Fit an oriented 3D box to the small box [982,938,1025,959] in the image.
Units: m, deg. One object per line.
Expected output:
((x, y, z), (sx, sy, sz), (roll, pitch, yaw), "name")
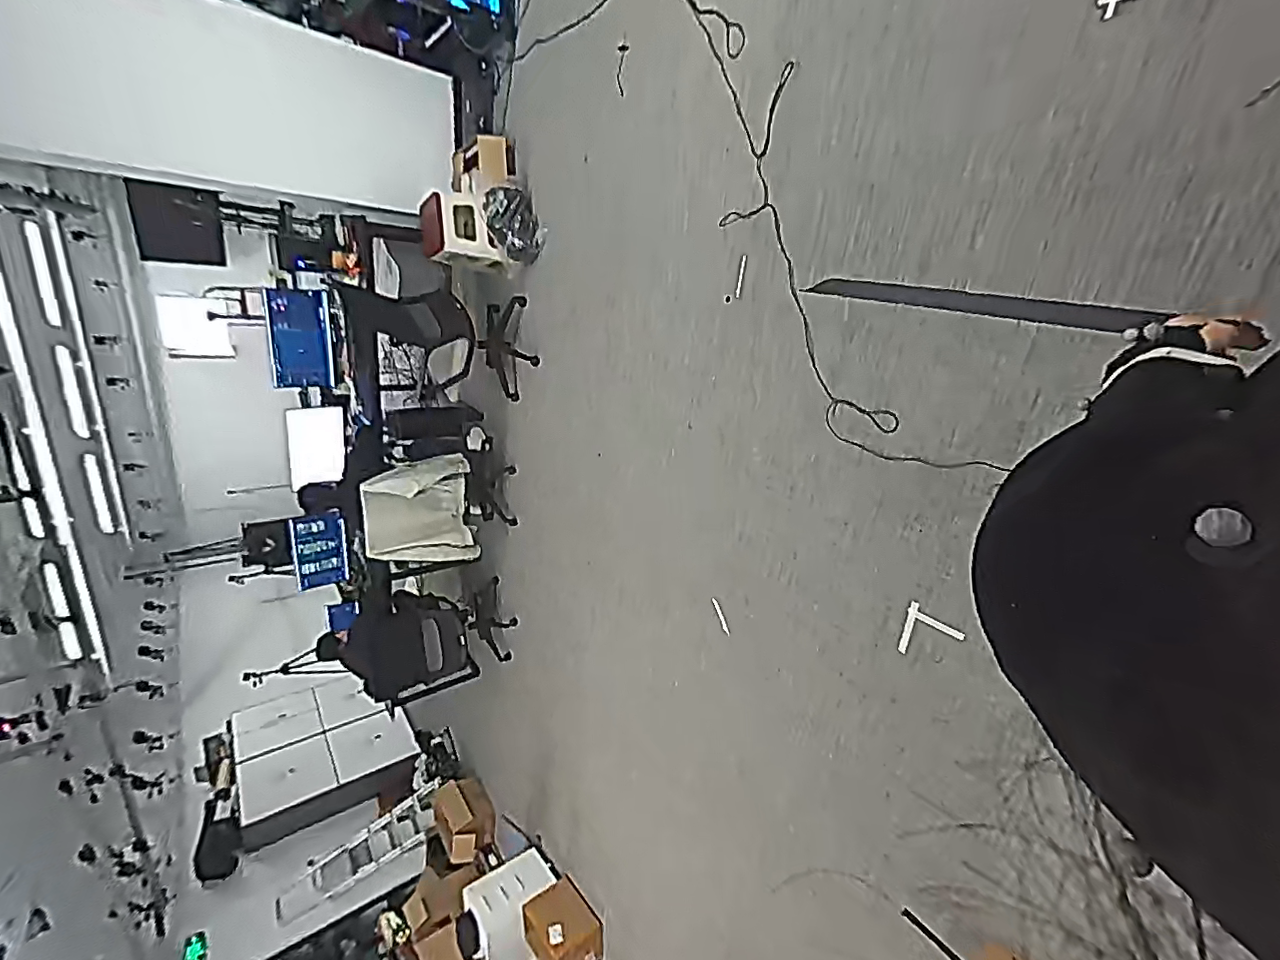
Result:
((0.989, 1.400, 1.450), (0.168, 0.176, 0.179), (27, 119, 47), "small box")
